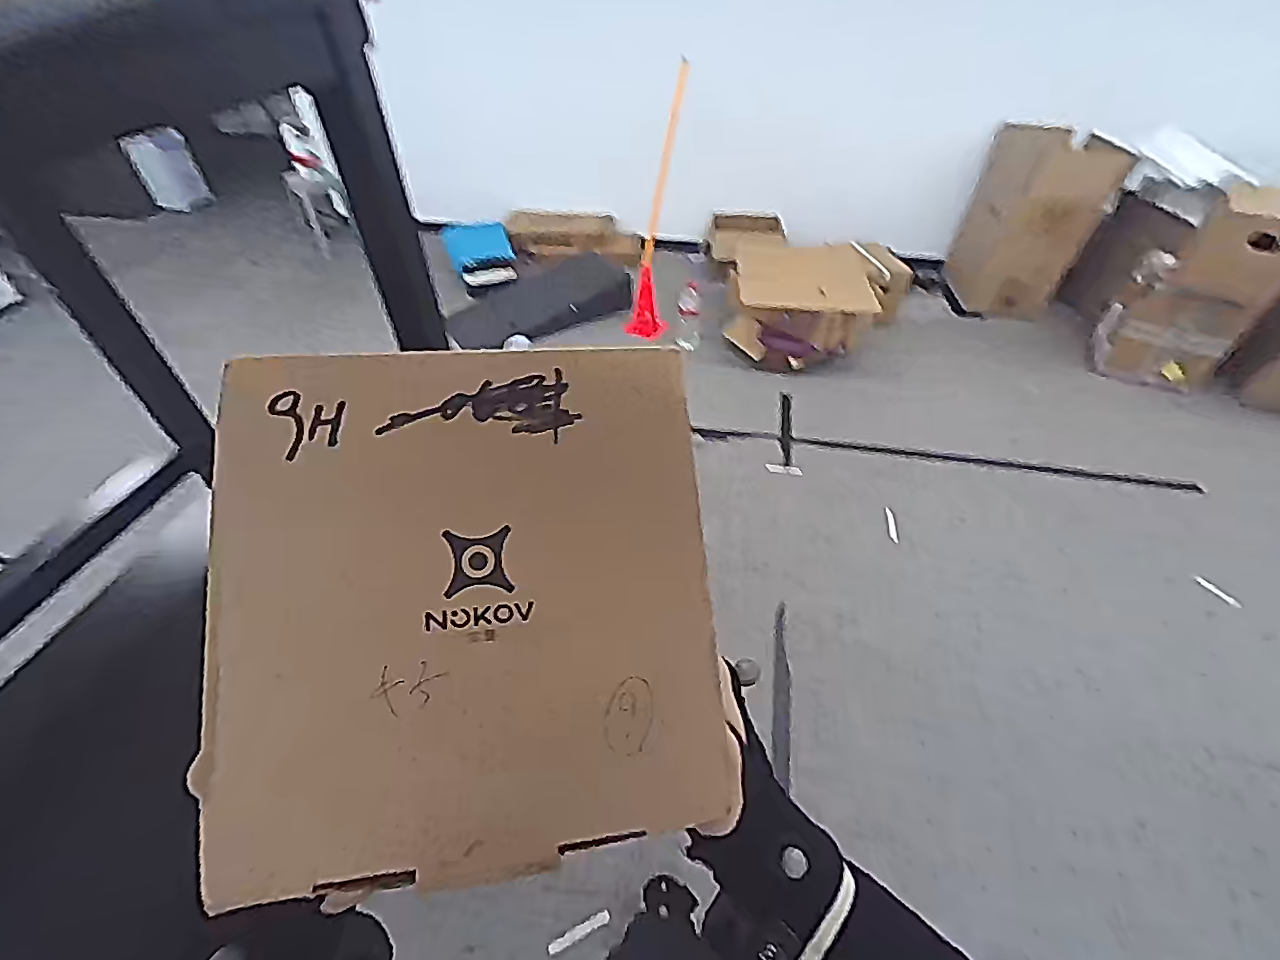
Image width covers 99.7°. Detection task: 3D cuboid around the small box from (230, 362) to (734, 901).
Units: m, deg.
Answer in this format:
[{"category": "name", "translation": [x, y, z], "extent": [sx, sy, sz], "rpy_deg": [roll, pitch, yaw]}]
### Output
[{"category": "small box", "translation": [-0.064, 0.055, 0.270], "extent": [0.168, 0.176, 0.179], "rpy_deg": [-3, 80, -10]}]
